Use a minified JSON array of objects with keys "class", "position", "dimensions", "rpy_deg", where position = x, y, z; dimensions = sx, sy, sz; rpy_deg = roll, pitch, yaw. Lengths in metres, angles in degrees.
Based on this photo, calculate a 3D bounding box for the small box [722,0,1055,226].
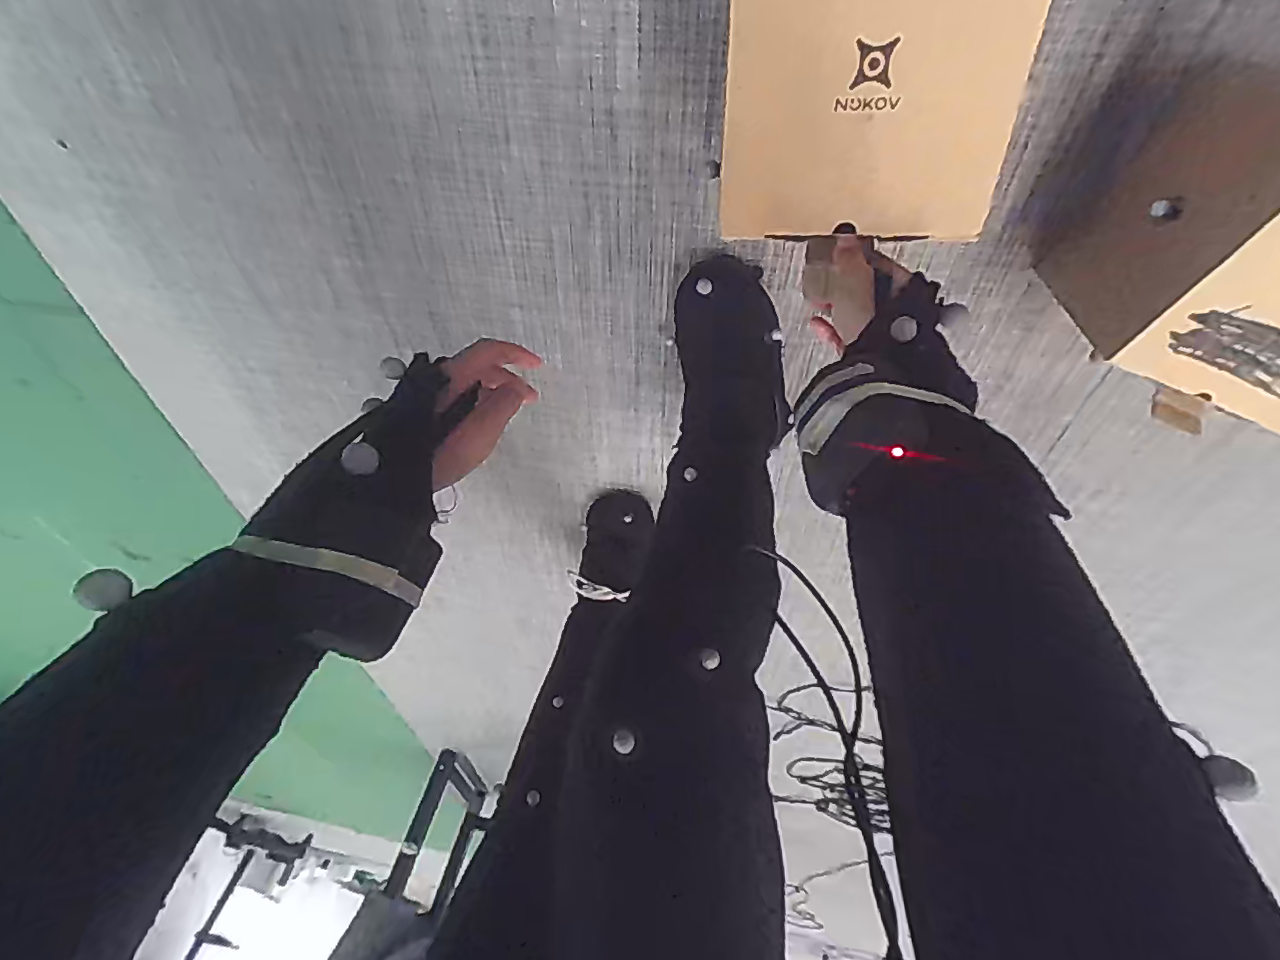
[{"class":"small box","position":[0.147,-0.280,0.366],"dimensions":[0.168,0.176,0.179],"rpy_deg":[5,124,10]}]
